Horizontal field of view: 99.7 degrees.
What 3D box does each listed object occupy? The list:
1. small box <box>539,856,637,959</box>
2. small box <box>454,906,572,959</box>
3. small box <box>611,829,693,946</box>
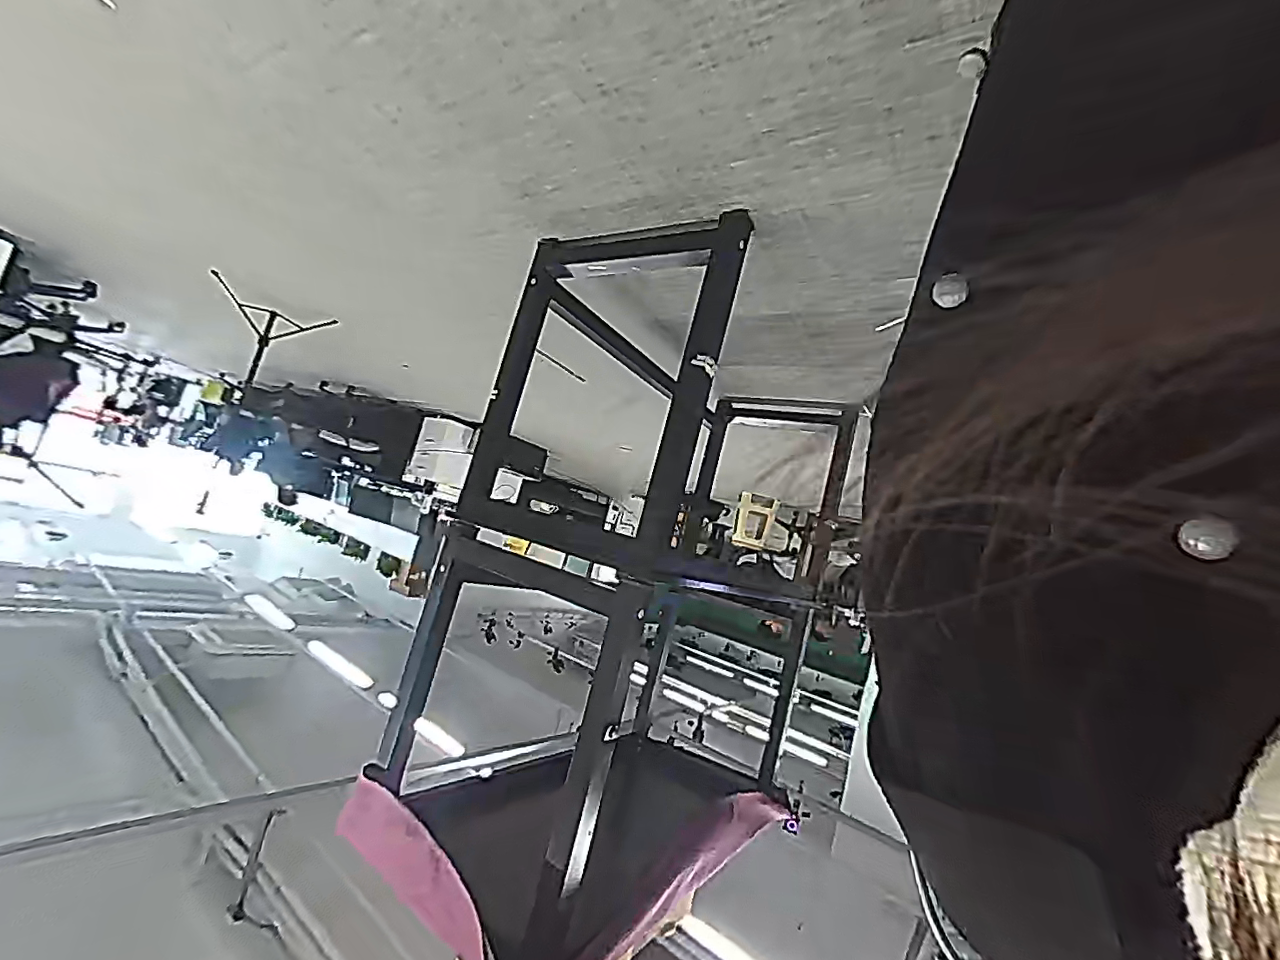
[{"bbox_3d":[-0.124,1.022,1.250,0.179,0.176,0.168,10,172,39],"label":"small box"},{"bbox_3d":[-0.252,0.965,1.026,0.179,0.176,0.168,10,173,41],"label":"small box"},{"bbox_3d":[0.027,1.089,1.464,0.179,0.176,0.168,8,171,45],"label":"small box"}]
